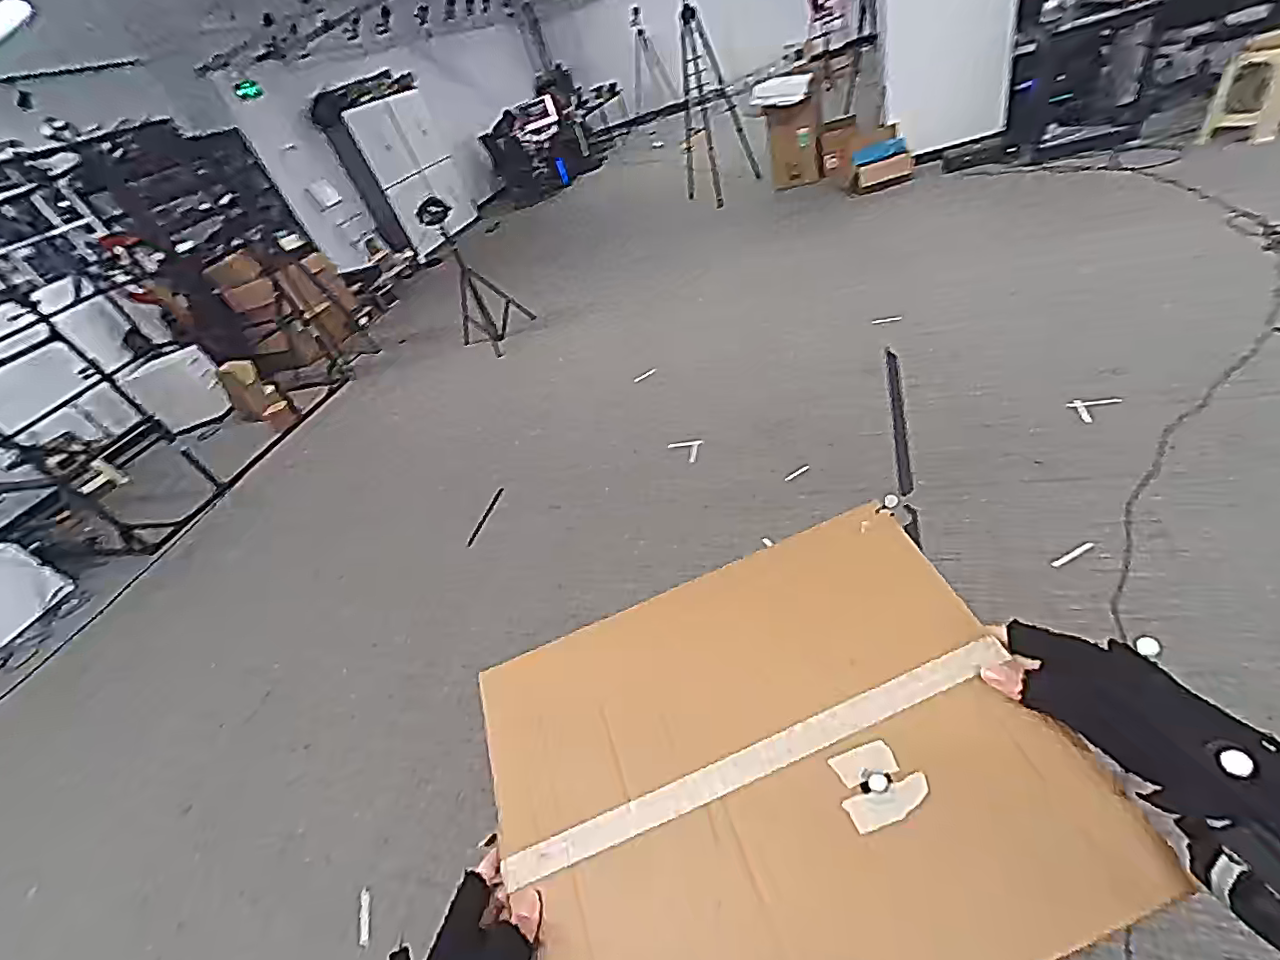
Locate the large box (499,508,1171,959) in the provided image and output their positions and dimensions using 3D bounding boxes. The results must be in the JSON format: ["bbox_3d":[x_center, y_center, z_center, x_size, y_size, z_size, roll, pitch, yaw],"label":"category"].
[{"bbox_3d":[0.130,0.300,0.531,0.408,0.320,0.320,-23,52,-3],"label":"large box"}]
